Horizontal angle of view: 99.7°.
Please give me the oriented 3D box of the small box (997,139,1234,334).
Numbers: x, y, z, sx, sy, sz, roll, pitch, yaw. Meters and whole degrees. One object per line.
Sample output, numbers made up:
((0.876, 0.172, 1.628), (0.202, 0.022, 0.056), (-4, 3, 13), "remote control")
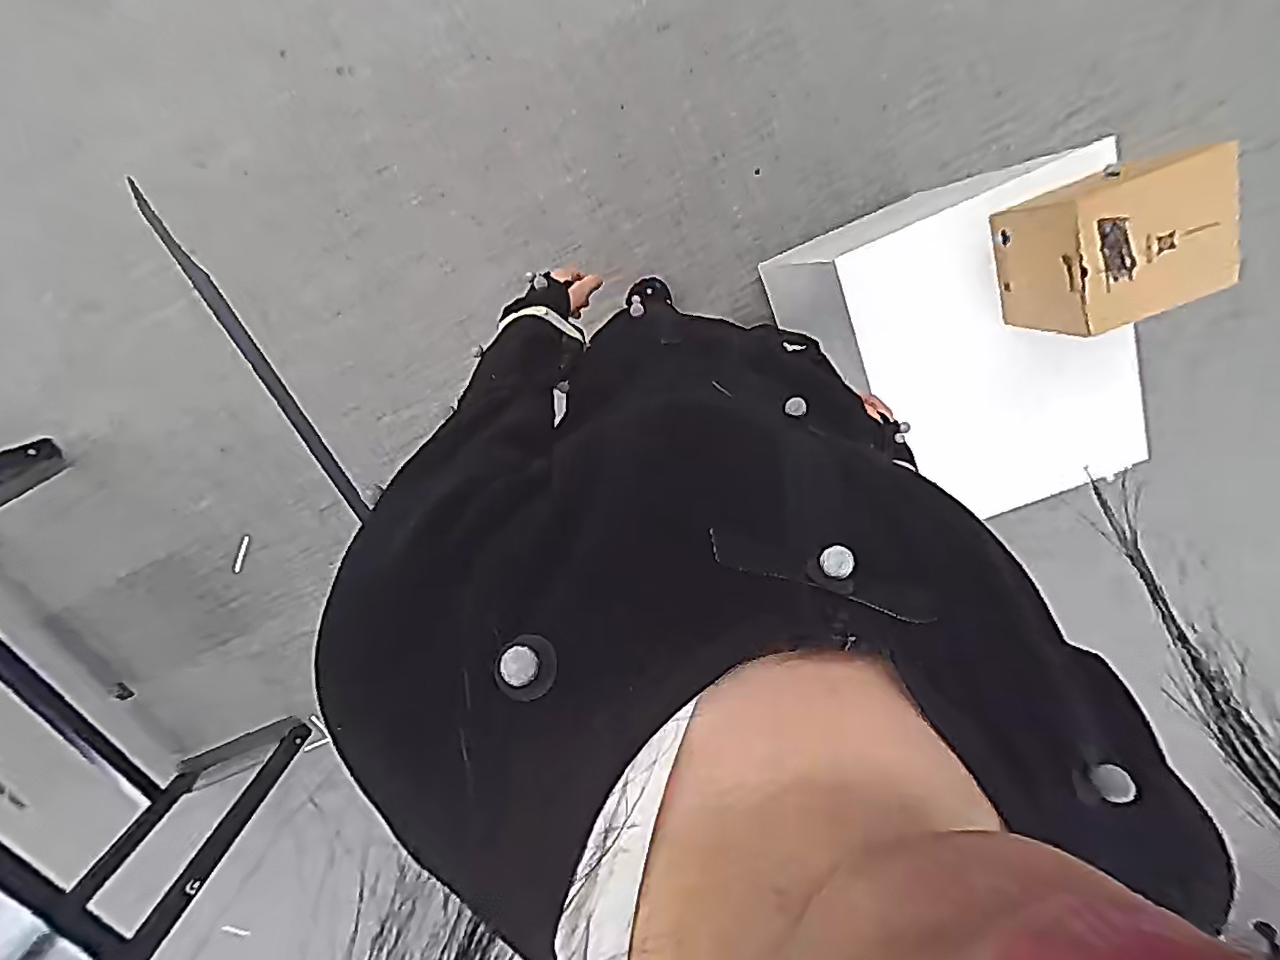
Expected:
((0.603, -0.307, 0.709), (0.179, 0.176, 0.168), (-21, 110, 7), "small box")
